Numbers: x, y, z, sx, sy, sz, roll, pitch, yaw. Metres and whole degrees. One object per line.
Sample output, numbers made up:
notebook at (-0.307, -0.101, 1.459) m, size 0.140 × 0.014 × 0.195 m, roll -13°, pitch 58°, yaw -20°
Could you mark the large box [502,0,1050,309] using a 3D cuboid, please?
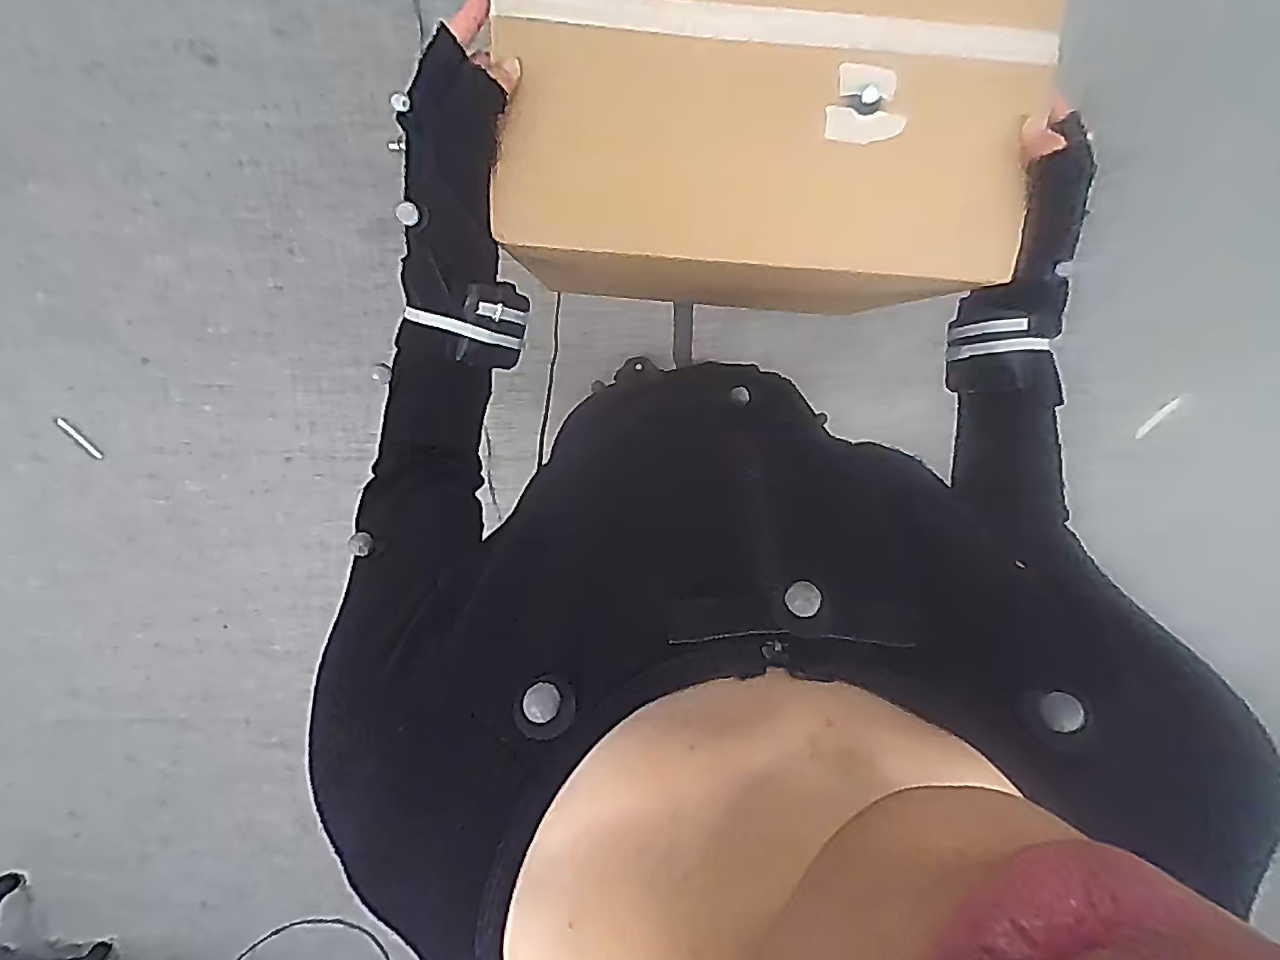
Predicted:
large box at (0.093, -0.357, 0.540) m, size 0.408 × 0.320 × 0.320 m, roll 3°, pitch 102°, yaw -3°
